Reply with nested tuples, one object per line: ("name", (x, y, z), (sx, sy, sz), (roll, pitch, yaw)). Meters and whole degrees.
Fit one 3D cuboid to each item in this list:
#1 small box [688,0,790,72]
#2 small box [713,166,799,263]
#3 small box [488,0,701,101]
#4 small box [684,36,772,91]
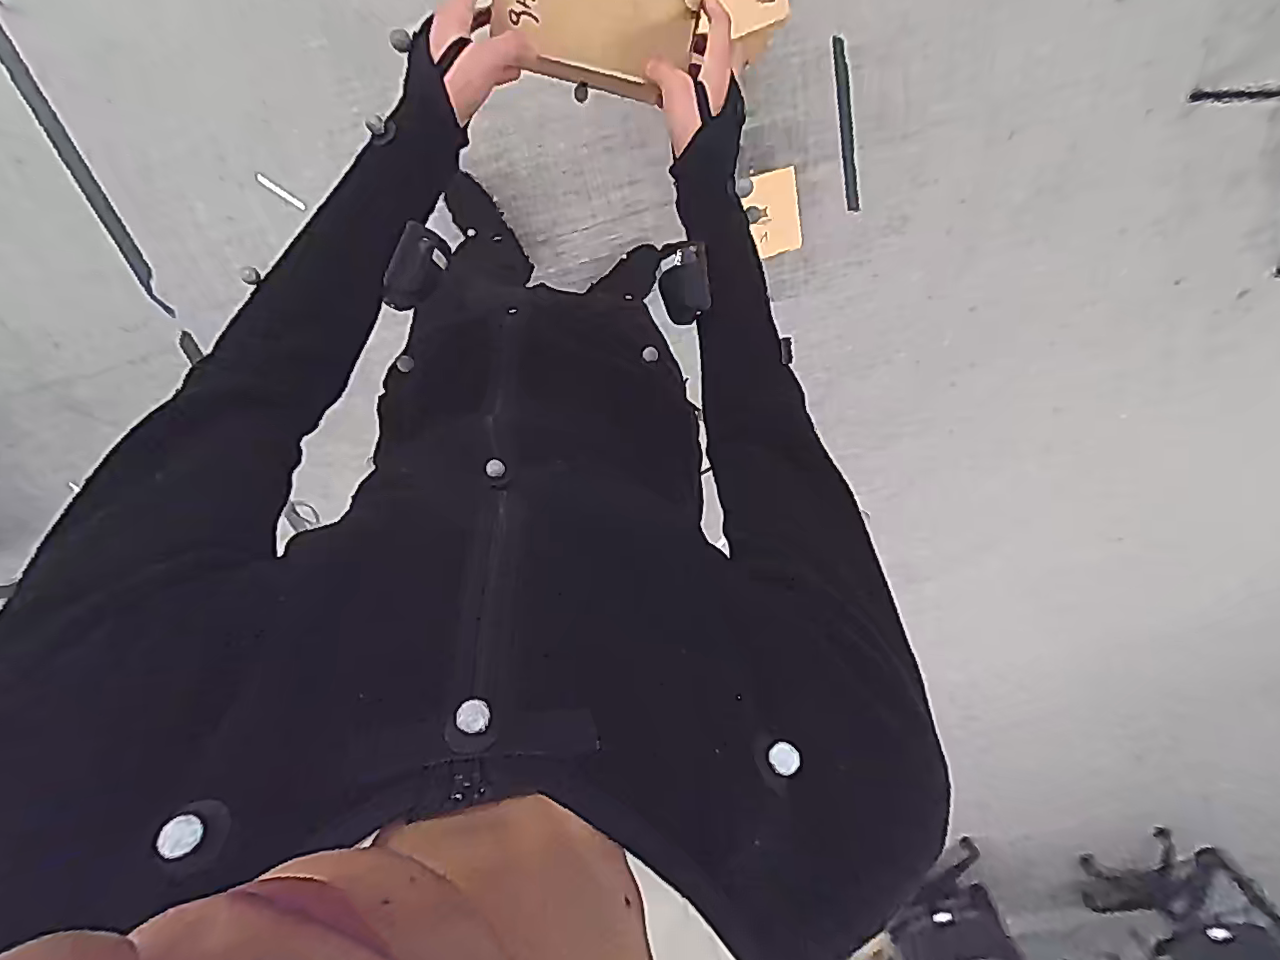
("small box", (0.160, -0.901, 1.008), (0.179, 0.176, 0.168), (-17, 115, 8))
("small box", (0.279, -0.646, 1.323), (0.168, 0.176, 0.179), (-12, 117, 5))
("small box", (-0.041, -0.472, 0.504), (0.179, 0.176, 0.168), (5, 121, -14))
("small box", (0.163, -0.969, 1.157), (0.179, 0.176, 0.168), (-18, 115, 8))
